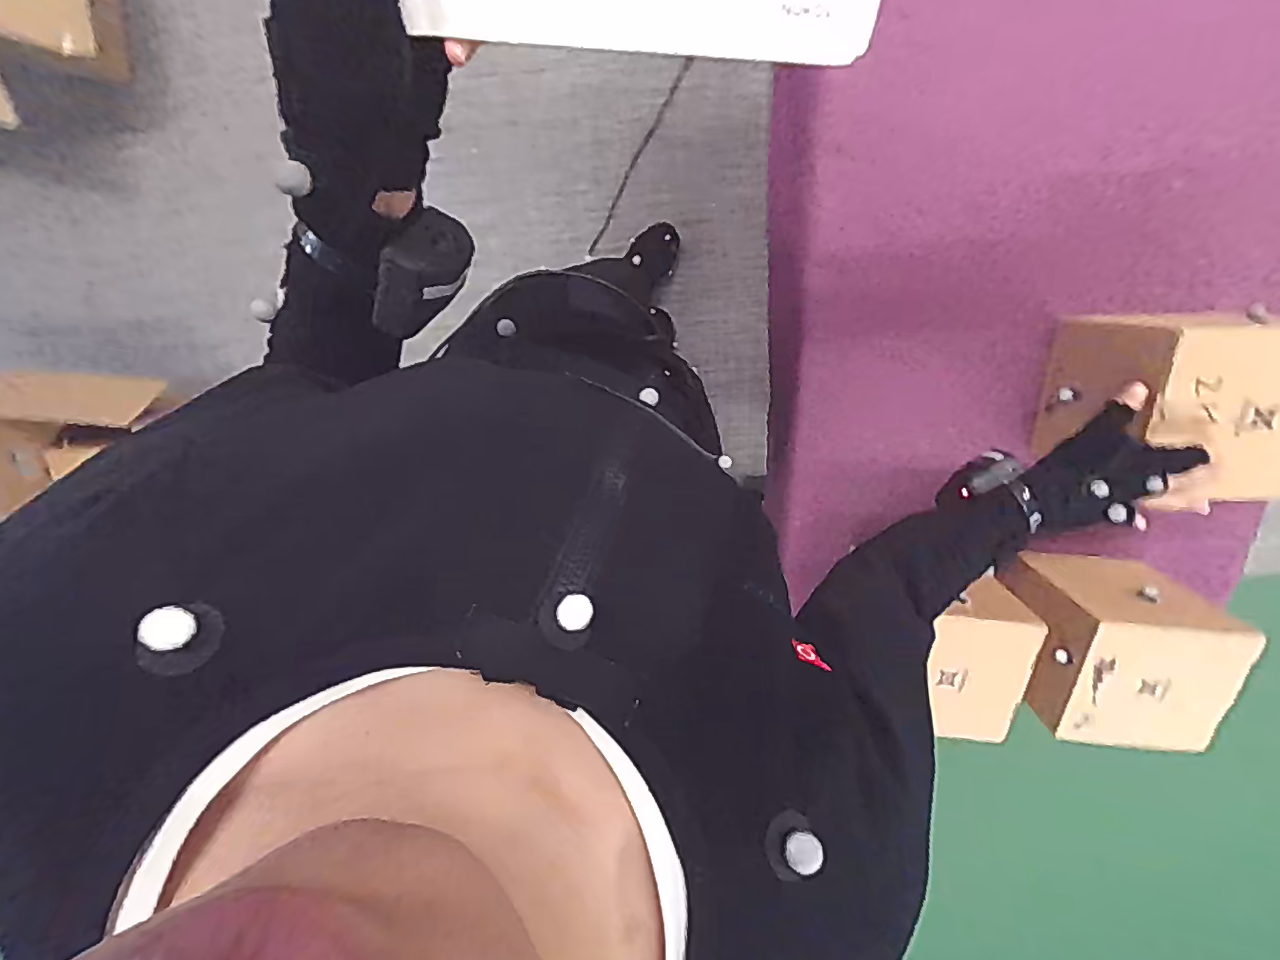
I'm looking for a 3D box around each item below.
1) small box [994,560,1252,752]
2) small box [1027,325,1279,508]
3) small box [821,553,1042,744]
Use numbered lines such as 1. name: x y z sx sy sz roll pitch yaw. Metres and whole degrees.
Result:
1. small box: 0.582 0.216 0.695 0.179 0.176 0.168 4 110 1
2. small box: 0.576 -0.077 0.588 0.179 0.176 0.168 0 110 4
3. small box: 0.358 0.209 0.704 0.179 0.176 0.168 7 109 1
